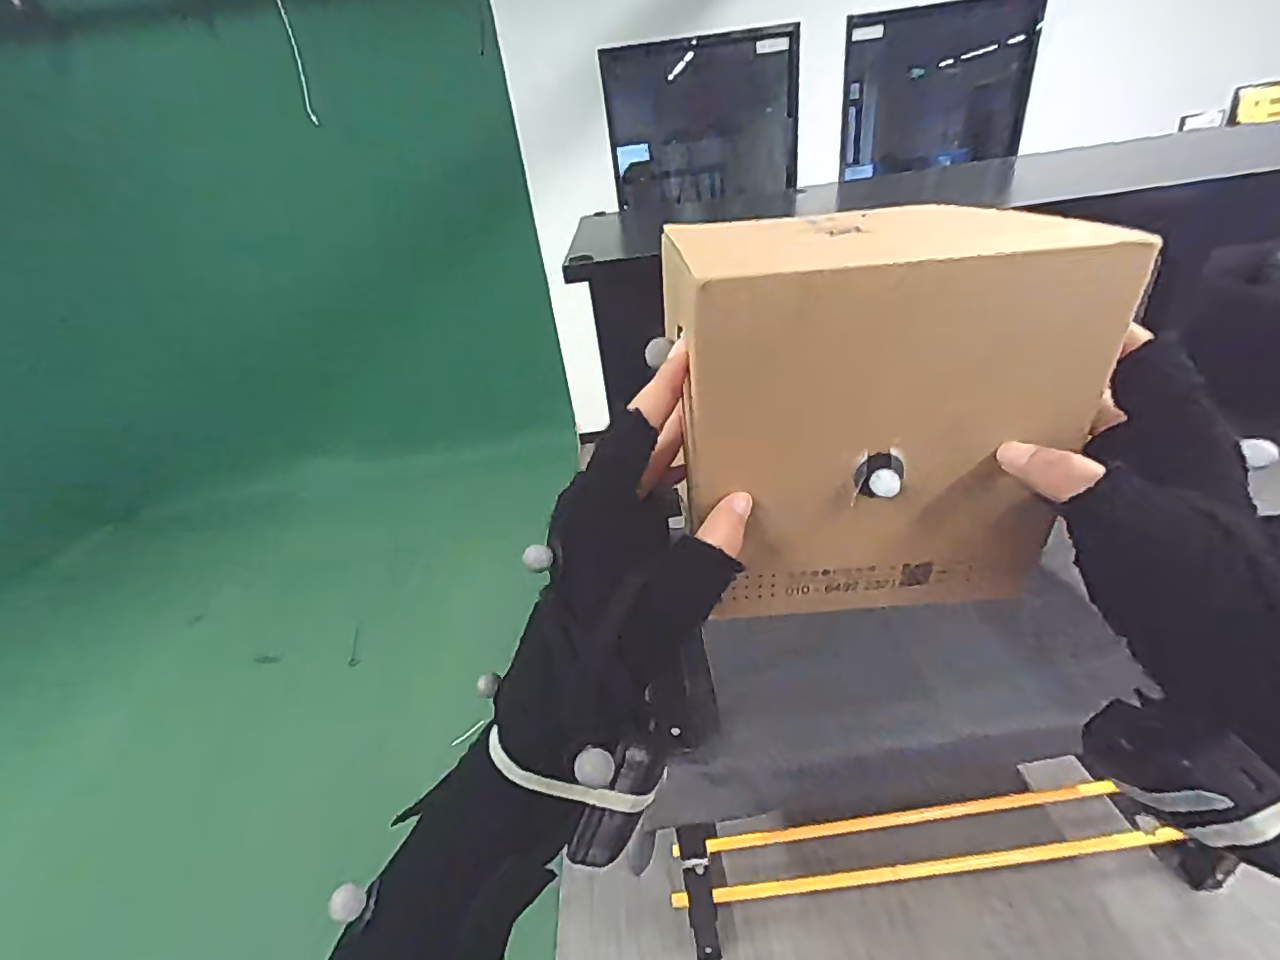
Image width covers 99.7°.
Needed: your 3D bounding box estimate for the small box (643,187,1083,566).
[{"bbox_3d":[0.090,-0.063,0.313,0.168,0.176,0.179,-4,31,1],"label":"small box"}]
